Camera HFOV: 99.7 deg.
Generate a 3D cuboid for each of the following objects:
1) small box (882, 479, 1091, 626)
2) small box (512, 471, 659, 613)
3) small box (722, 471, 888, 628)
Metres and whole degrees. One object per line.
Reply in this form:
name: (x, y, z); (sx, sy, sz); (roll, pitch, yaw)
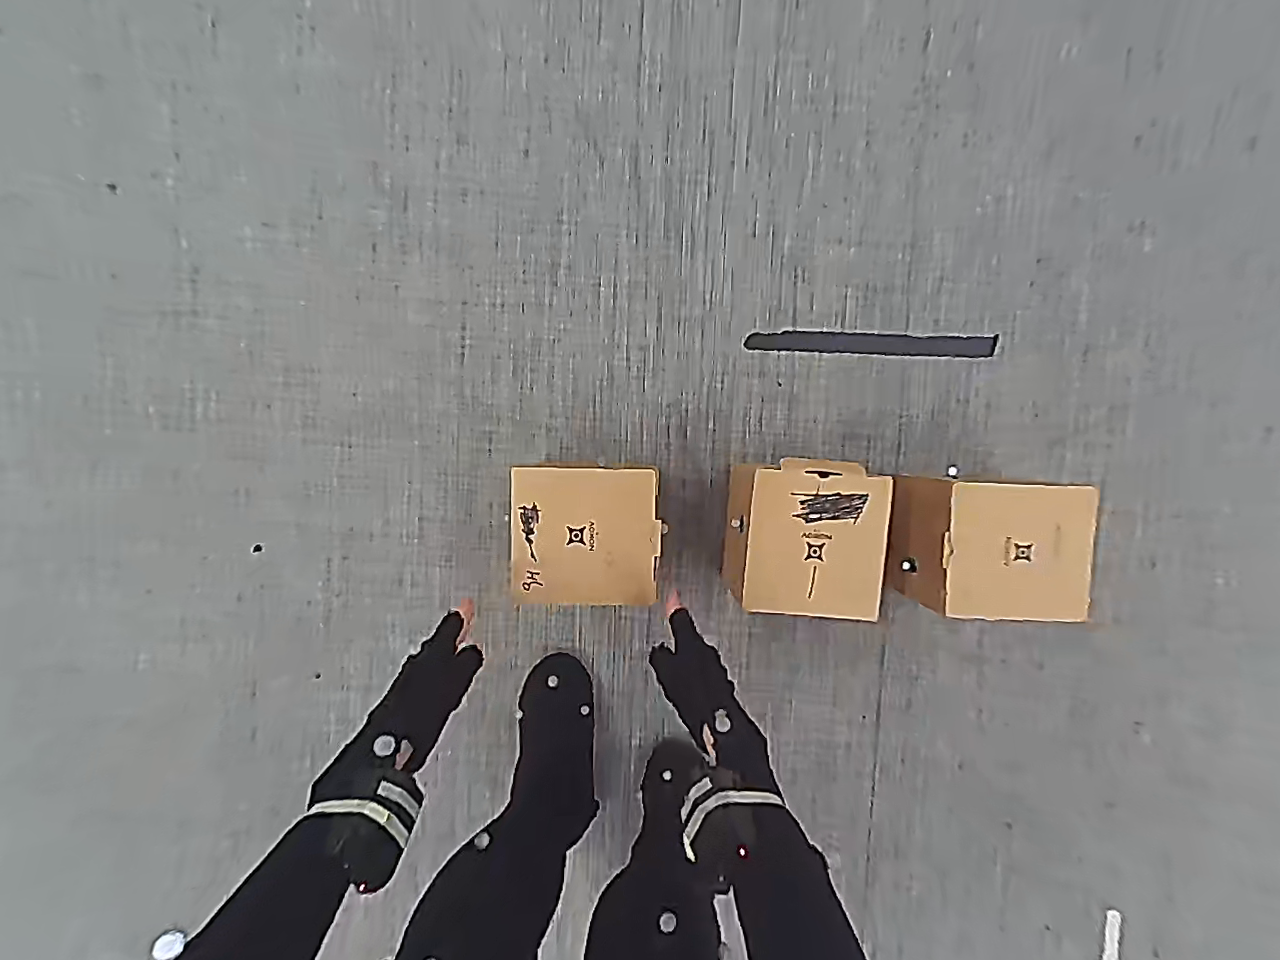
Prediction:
small box: (0.445, 0.087, 0.724); (0.179, 0.176, 0.168); (1, 94, -1)
small box: (-0.067, 0.073, 0.726); (0.179, 0.176, 0.168); (1, 93, -1)
small box: (0.207, 0.081, 0.723); (0.168, 0.176, 0.179); (4, 93, 0)
